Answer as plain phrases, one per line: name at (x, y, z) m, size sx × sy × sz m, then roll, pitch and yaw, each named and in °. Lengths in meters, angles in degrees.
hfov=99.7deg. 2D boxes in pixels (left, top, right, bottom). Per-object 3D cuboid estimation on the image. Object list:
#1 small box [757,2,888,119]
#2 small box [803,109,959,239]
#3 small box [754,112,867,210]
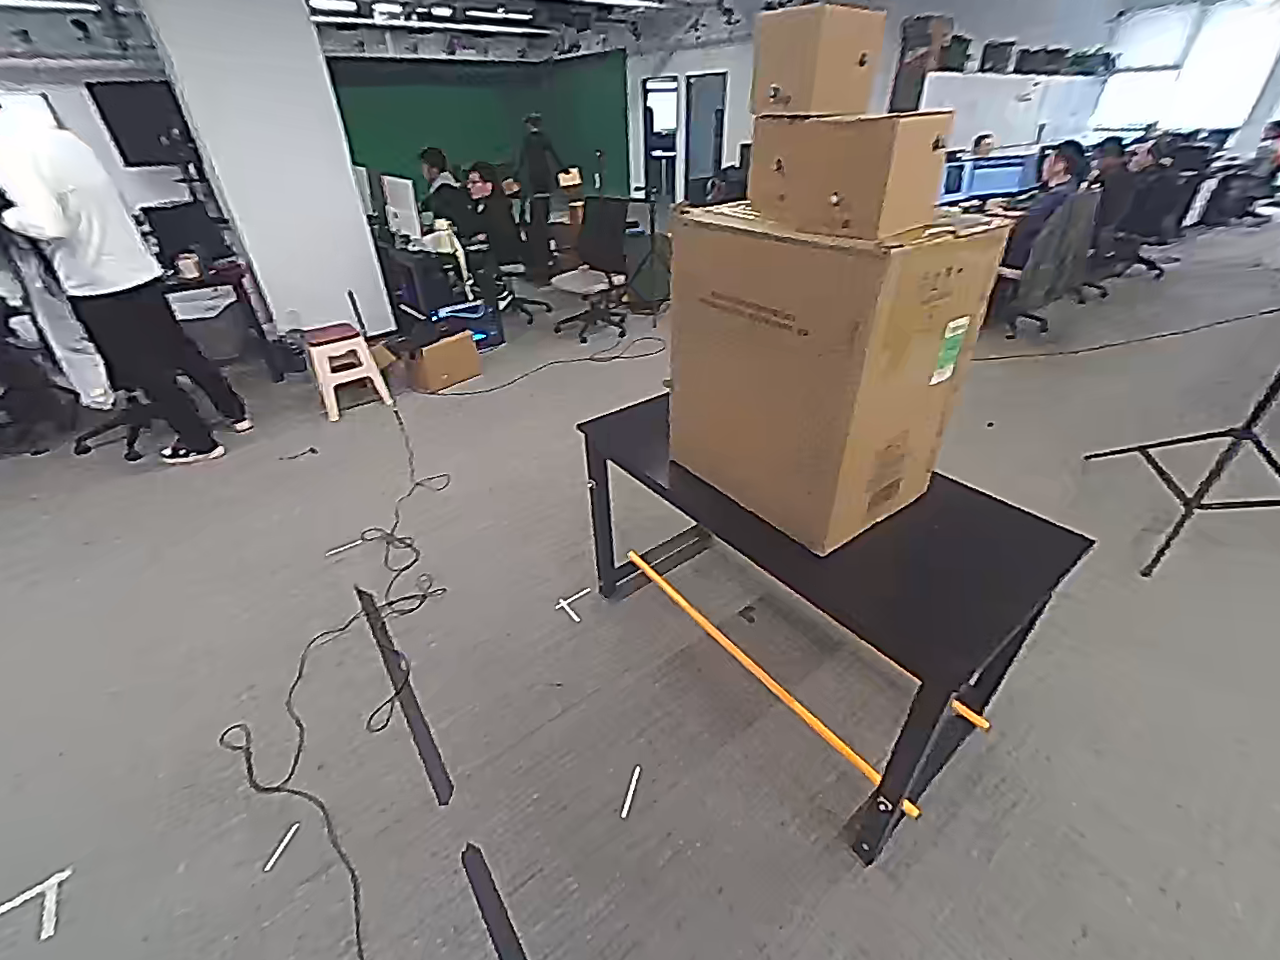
small box at (0.352, -0.823, 1.075) m, size 0.179 × 0.176 × 0.168 m, roll -22°, pitch 39°, yaw -28°
small box at (0.394, -0.516, 0.908) m, size 0.179 × 0.176 × 0.168 m, roll -27°, pitch 39°, yaw -30°
small box at (0.365, -0.695, 1.177) m, size 0.179 × 0.176 × 0.168 m, roll -24°, pitch 41°, yaw -29°
